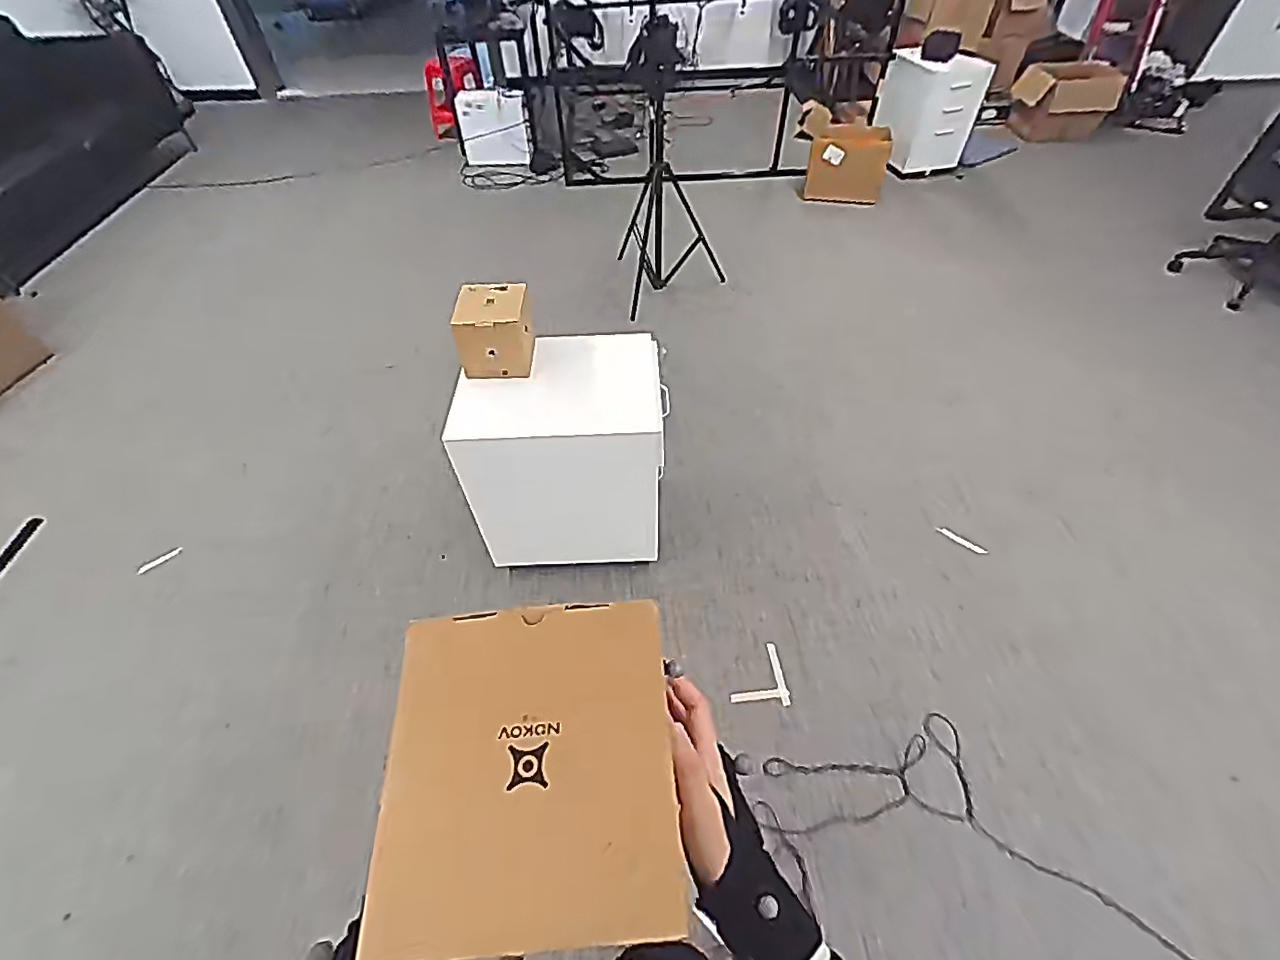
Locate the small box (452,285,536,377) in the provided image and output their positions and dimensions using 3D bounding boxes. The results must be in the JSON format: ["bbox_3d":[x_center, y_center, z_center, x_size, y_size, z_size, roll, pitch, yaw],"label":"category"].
[{"bbox_3d":[-0.366,-0.378,1.393,0.168,0.176,0.179,-2,51,-1],"label":"small box"}]

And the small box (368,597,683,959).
[{"bbox_3d":[-0.060,0.201,0.382,0.168,0.176,0.179,-6,57,-1],"label":"small box"}]
